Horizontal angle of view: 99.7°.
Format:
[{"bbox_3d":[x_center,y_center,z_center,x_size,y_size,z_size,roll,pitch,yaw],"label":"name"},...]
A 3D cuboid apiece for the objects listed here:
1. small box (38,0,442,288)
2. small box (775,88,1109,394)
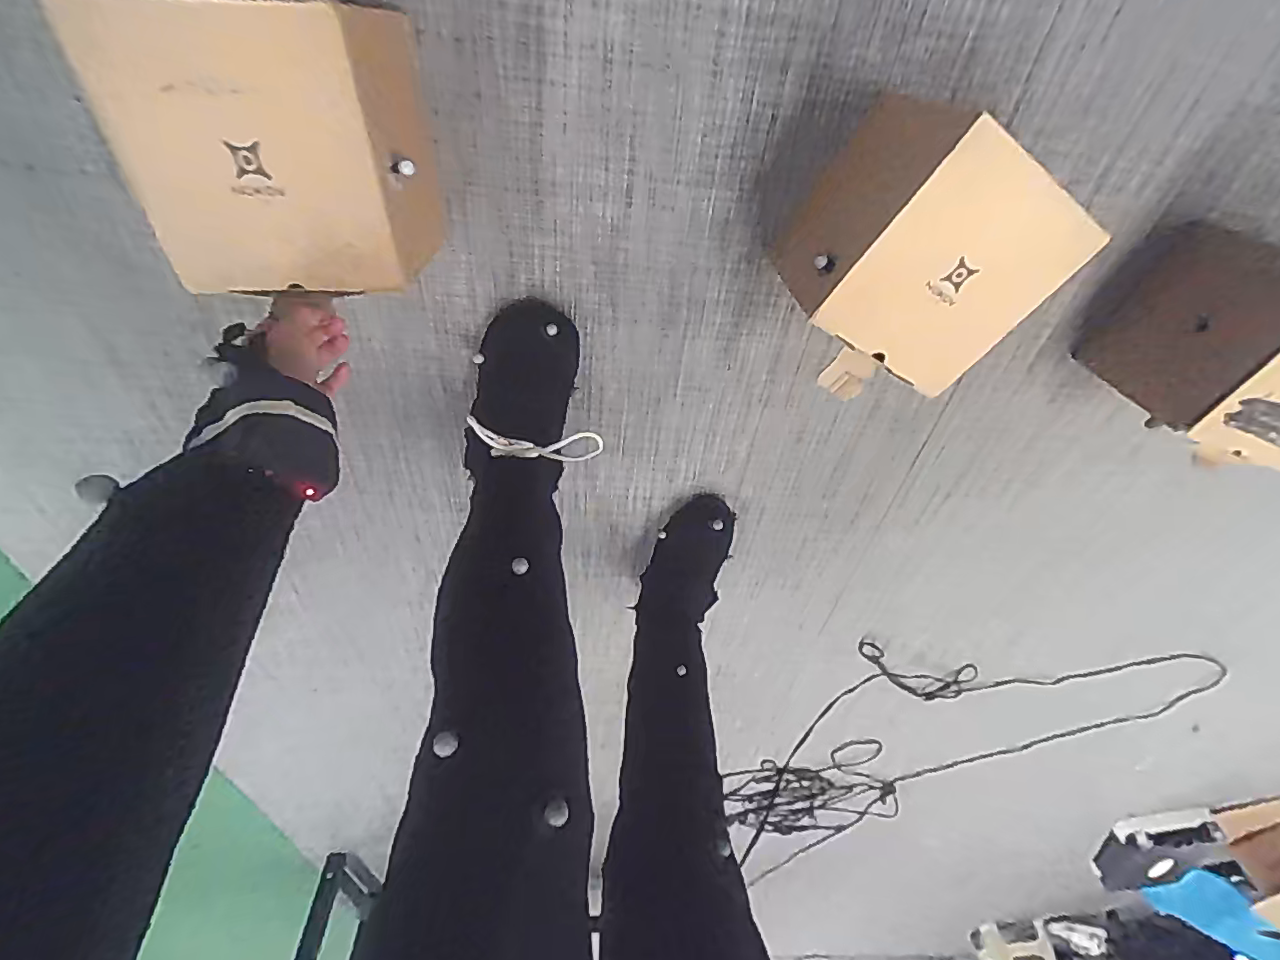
[{"bbox_3d":[-0.266,-0.263,0.419,0.168,0.176,0.179,-2,127,-4],"label":"small box"},{"bbox_3d":[0.251,-0.219,0.496,0.168,0.176,0.179,23,126,-22],"label":"small box"}]
